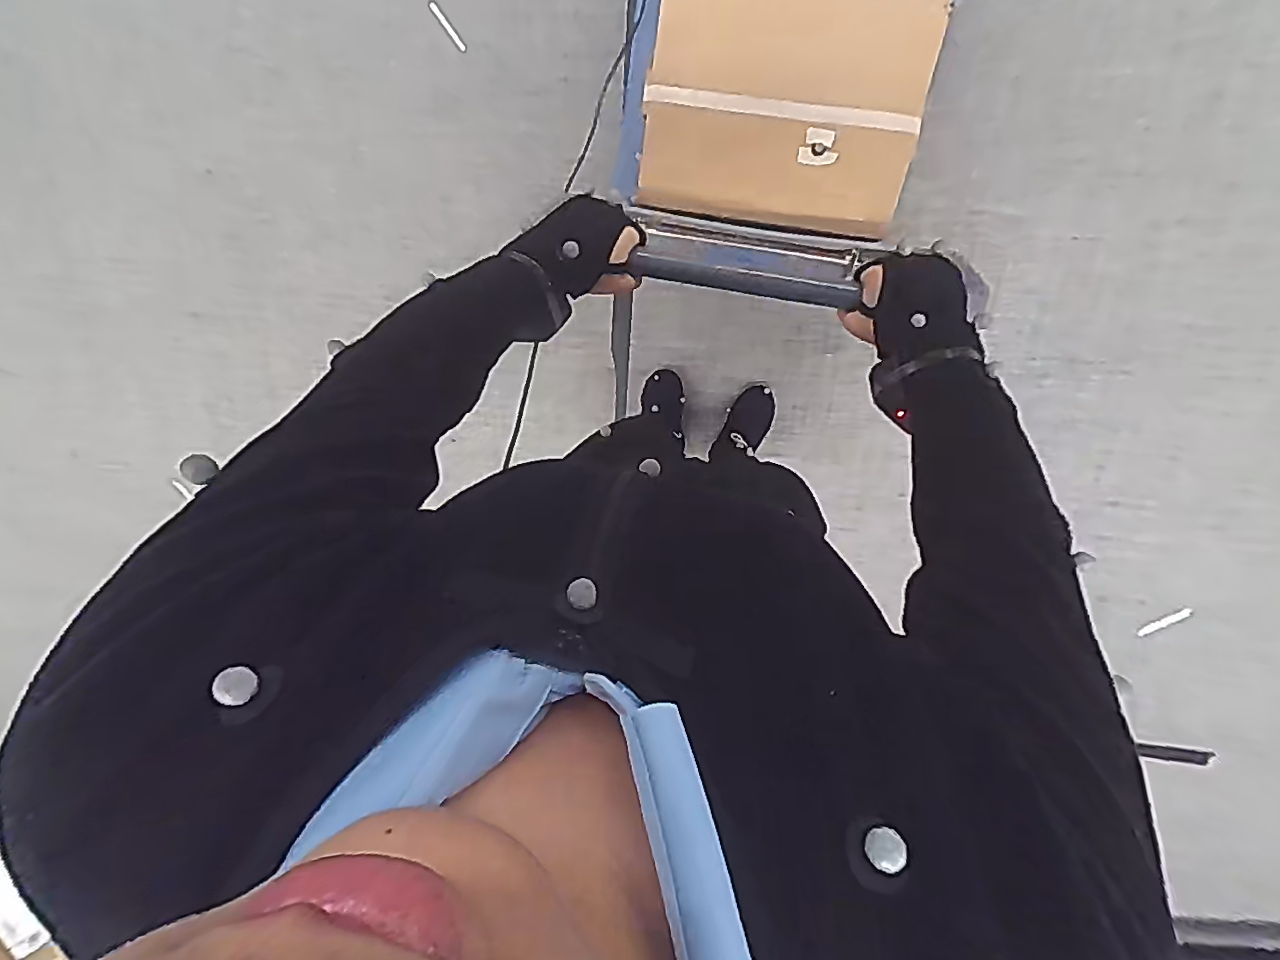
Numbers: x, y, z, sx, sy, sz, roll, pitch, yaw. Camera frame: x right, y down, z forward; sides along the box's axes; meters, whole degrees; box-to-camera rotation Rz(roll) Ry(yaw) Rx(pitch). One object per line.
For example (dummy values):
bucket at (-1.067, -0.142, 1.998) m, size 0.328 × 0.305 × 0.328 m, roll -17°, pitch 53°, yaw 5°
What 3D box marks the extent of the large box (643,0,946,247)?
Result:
large box at (0.234, -0.613, 0.964) m, size 0.408 × 0.320 × 0.320 m, roll 10°, pitch 112°, yaw 4°
